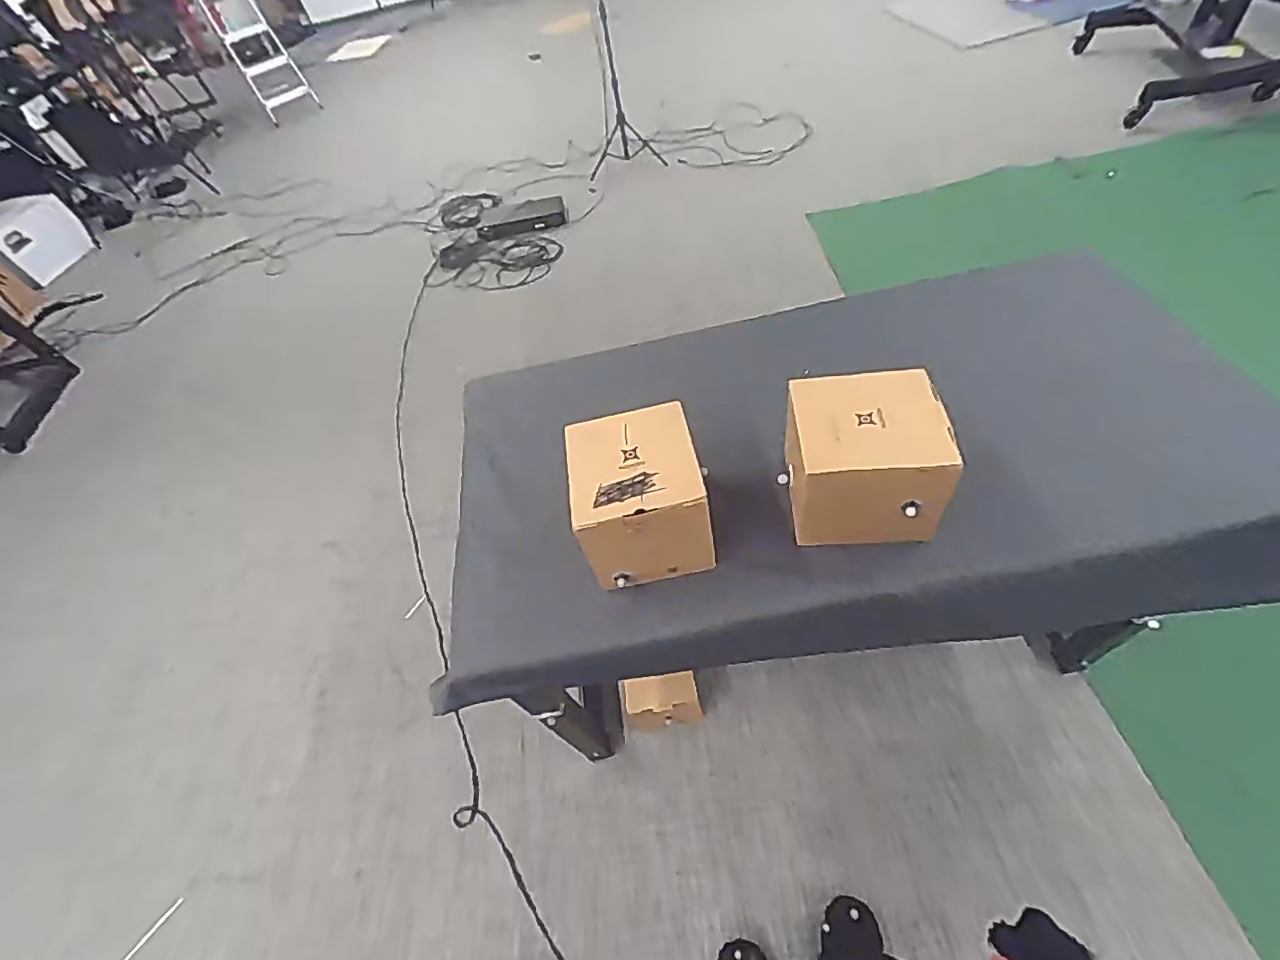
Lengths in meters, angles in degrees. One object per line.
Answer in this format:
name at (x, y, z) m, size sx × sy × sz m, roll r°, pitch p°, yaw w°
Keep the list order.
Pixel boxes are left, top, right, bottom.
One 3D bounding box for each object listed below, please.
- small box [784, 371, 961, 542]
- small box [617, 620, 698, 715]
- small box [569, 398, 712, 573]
small box at (0.298, -0.026, 0.738) m, size 0.179 × 0.176 × 0.168 m, roll -3°, pitch 52°, yaw 9°
small box at (0.045, 0.469, 1.336) m, size 0.168 × 0.176 × 0.179 m, roll -11°, pitch 53°, yaw 3°
small box at (0.003, 0.016, 0.758) m, size 0.168 × 0.176 × 0.179 m, roll -11°, pitch 51°, yaw 2°
